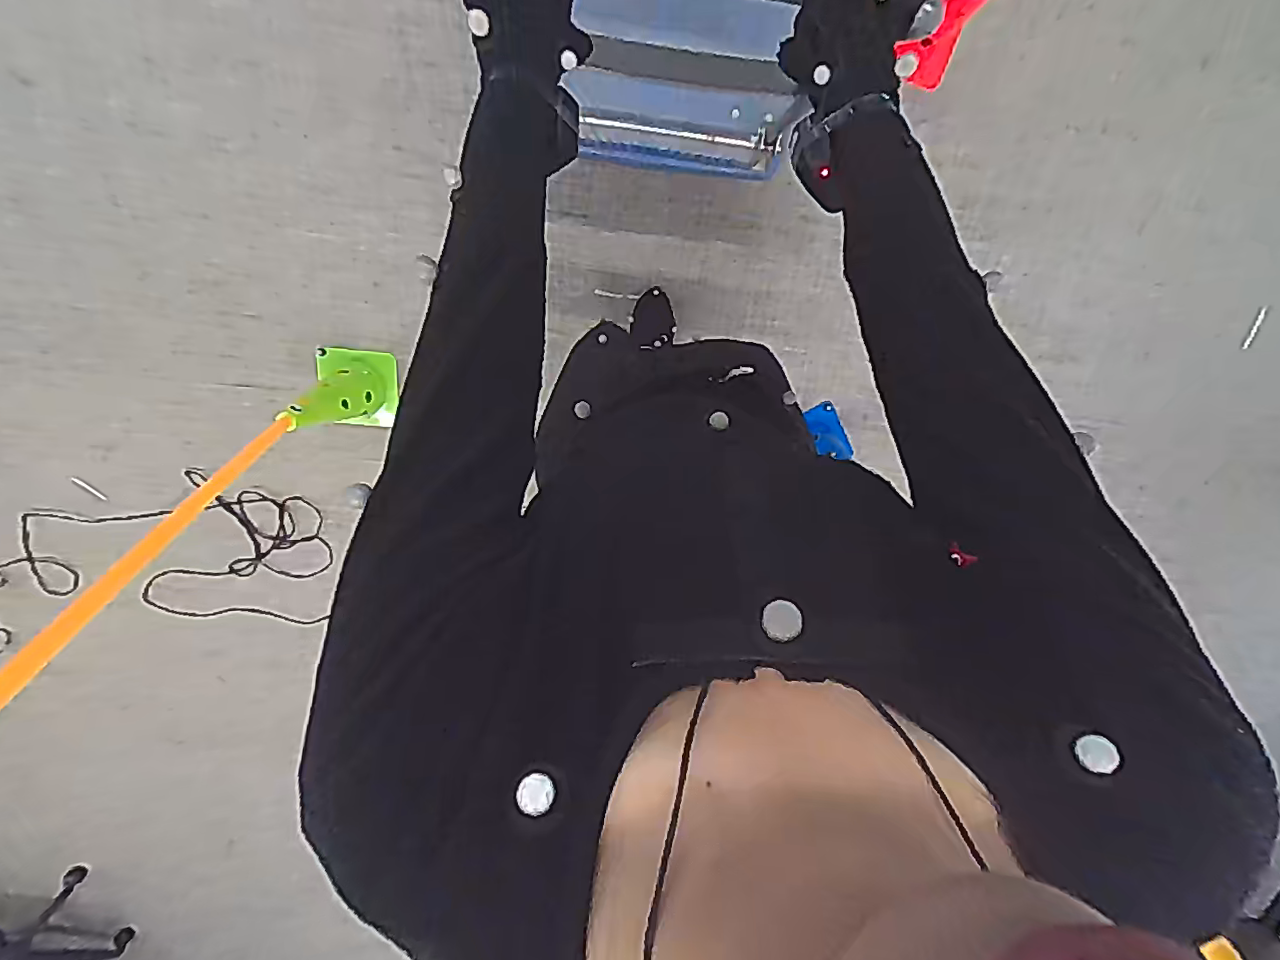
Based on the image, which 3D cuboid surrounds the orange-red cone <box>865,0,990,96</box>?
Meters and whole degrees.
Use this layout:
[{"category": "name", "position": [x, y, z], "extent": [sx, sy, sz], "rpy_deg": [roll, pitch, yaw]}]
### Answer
[{"category": "orange-red cone", "position": [0.628, -0.935, 1.045], "extent": [0.198, 0.360, 0.199], "rpy_deg": [16, 109, -8]}]
